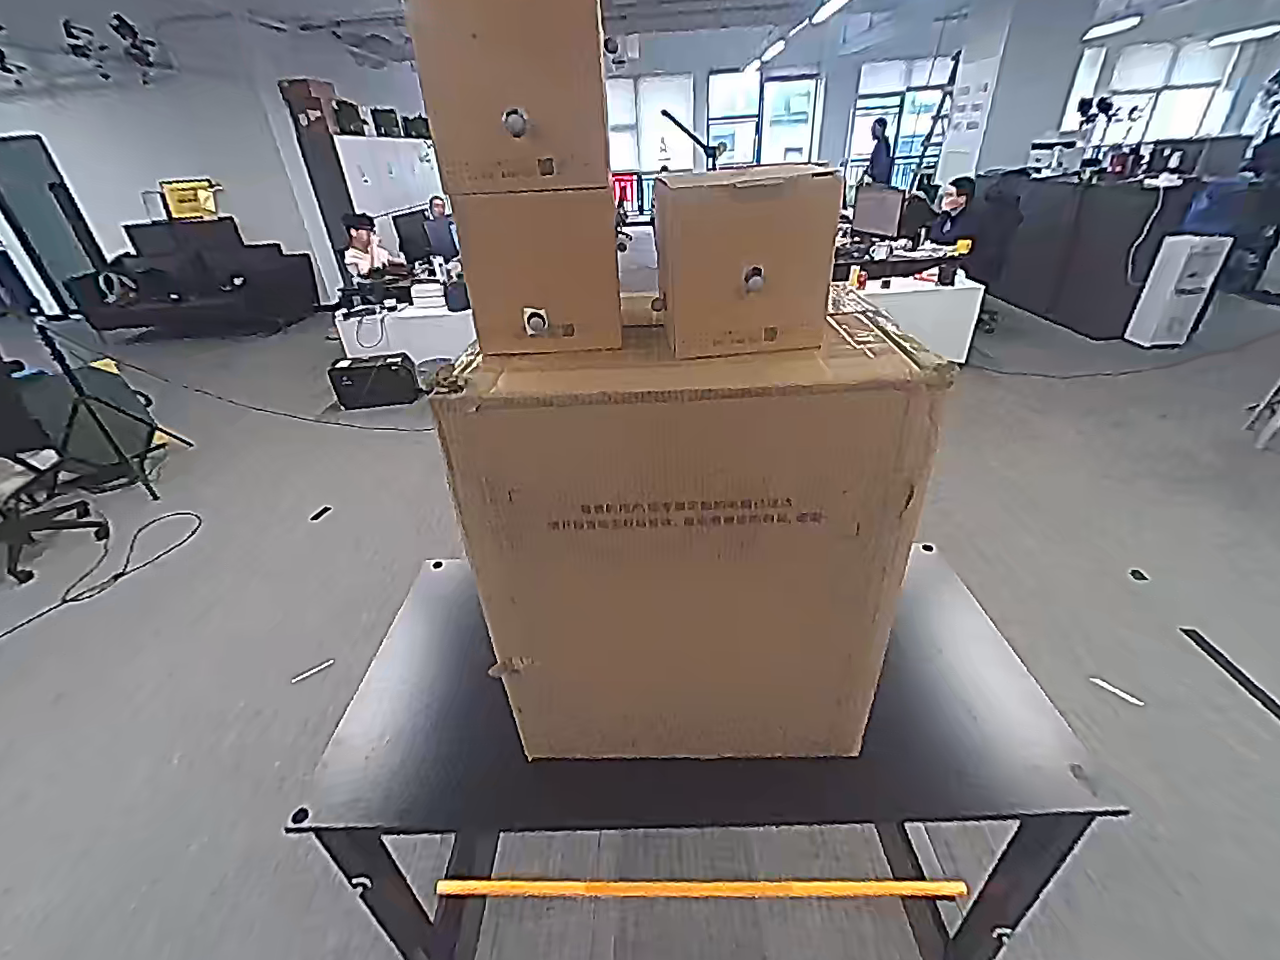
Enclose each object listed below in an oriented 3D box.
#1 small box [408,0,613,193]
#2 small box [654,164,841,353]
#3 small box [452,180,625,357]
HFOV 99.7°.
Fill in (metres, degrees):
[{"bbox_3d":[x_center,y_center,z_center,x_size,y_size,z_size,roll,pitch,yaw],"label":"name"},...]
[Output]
[{"bbox_3d":[-0.117,-0.395,0.557,0.168,0.176,0.179,-4,32,0],"label":"small box"},{"bbox_3d":[0.109,-0.248,0.610,0.168,0.176,0.179,-5,33,-1],"label":"small box"},{"bbox_3d":[-0.107,-0.256,0.646,0.168,0.176,0.179,-5,33,-2],"label":"small box"}]
